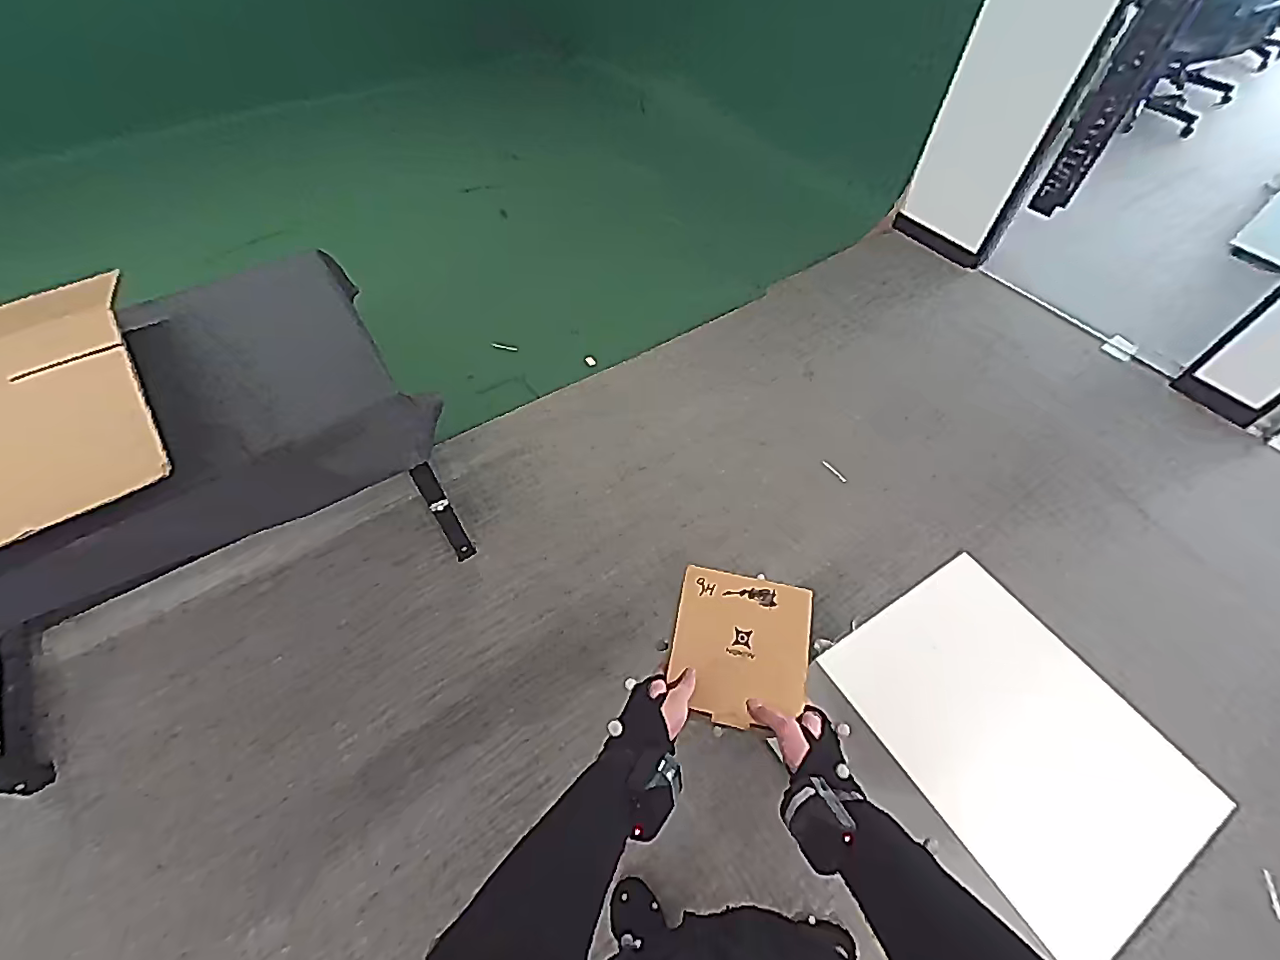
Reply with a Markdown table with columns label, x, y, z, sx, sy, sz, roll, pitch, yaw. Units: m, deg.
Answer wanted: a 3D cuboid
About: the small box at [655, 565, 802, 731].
| label | x | y | z | sx | sy | sz | roll | pitch | yaw |
| --- | --- | --- | --- | --- | --- | --- | --- | --- | --- |
| small box | 0.114 | 0.236 | 0.740 | 0.168 | 0.176 | 0.179 | 9 | 64 | 3 |
